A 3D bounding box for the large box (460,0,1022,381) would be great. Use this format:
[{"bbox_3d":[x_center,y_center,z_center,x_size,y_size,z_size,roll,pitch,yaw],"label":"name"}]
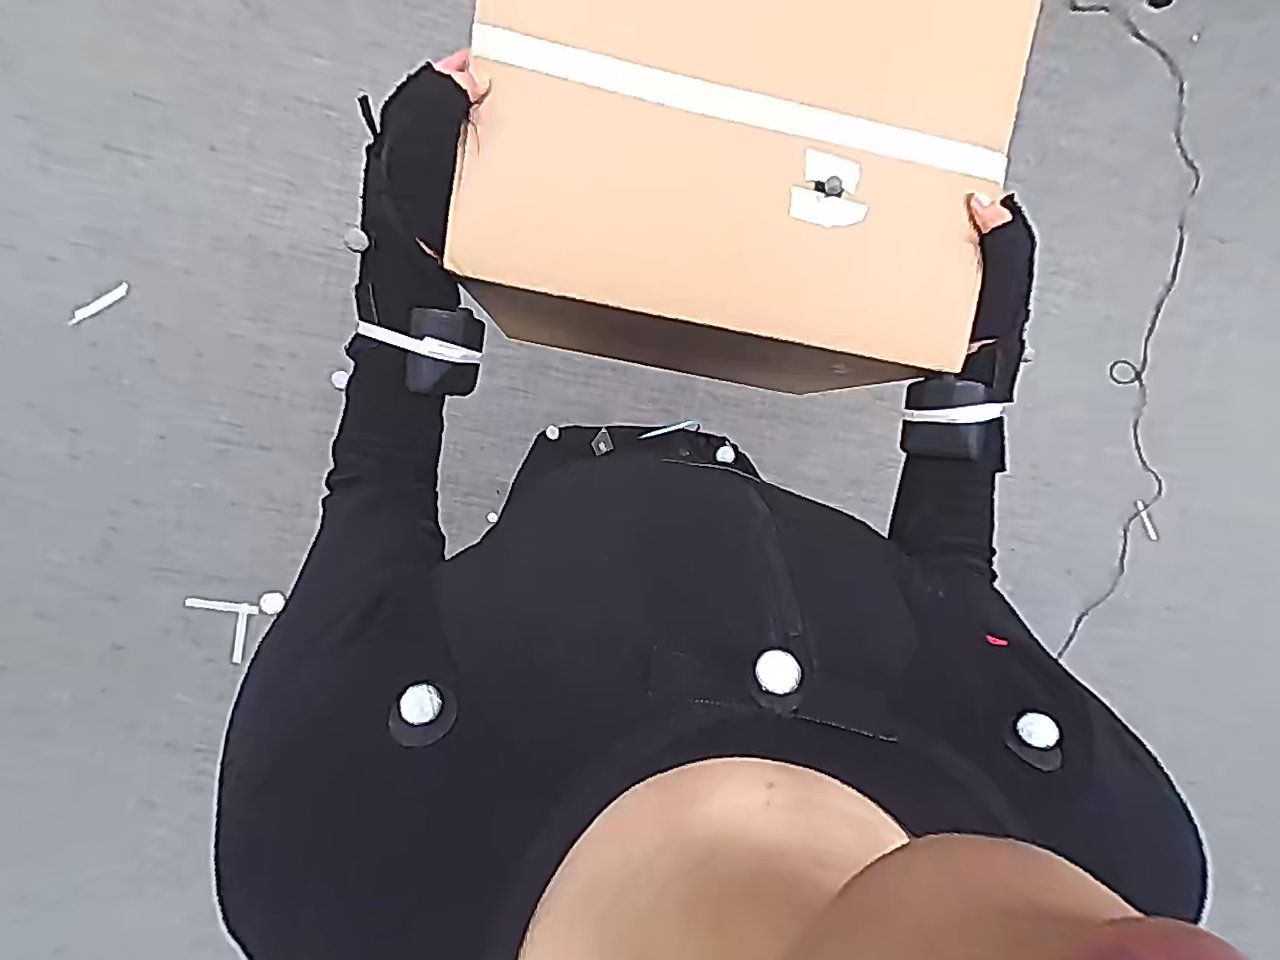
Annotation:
[{"bbox_3d":[0.065,-0.295,0.553,0.408,0.320,0.320,9,96,-8],"label":"large box"}]
